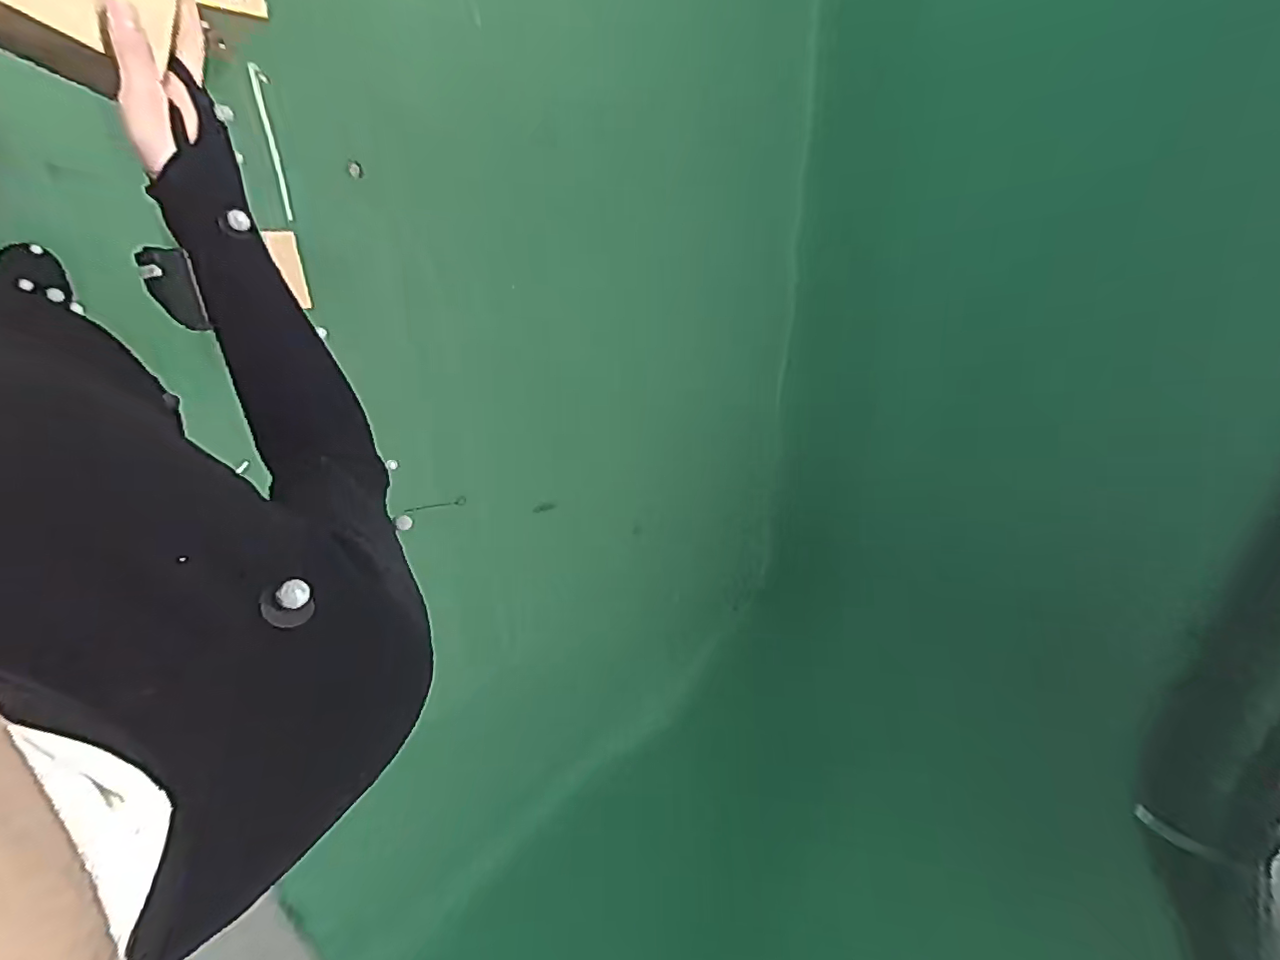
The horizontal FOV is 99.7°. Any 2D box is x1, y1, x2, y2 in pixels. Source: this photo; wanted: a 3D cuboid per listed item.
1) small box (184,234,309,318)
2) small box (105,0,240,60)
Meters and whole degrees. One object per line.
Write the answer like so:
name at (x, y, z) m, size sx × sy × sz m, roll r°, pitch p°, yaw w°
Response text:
small box at (-0.897, -0.470, 1.235) m, size 0.179 × 0.176 × 0.168 m, roll -24°, pitch 123°, yaw -41°
small box at (-0.908, -0.929, 1.029) m, size 0.179 × 0.176 × 0.168 m, roll -26°, pitch 123°, yaw -41°
